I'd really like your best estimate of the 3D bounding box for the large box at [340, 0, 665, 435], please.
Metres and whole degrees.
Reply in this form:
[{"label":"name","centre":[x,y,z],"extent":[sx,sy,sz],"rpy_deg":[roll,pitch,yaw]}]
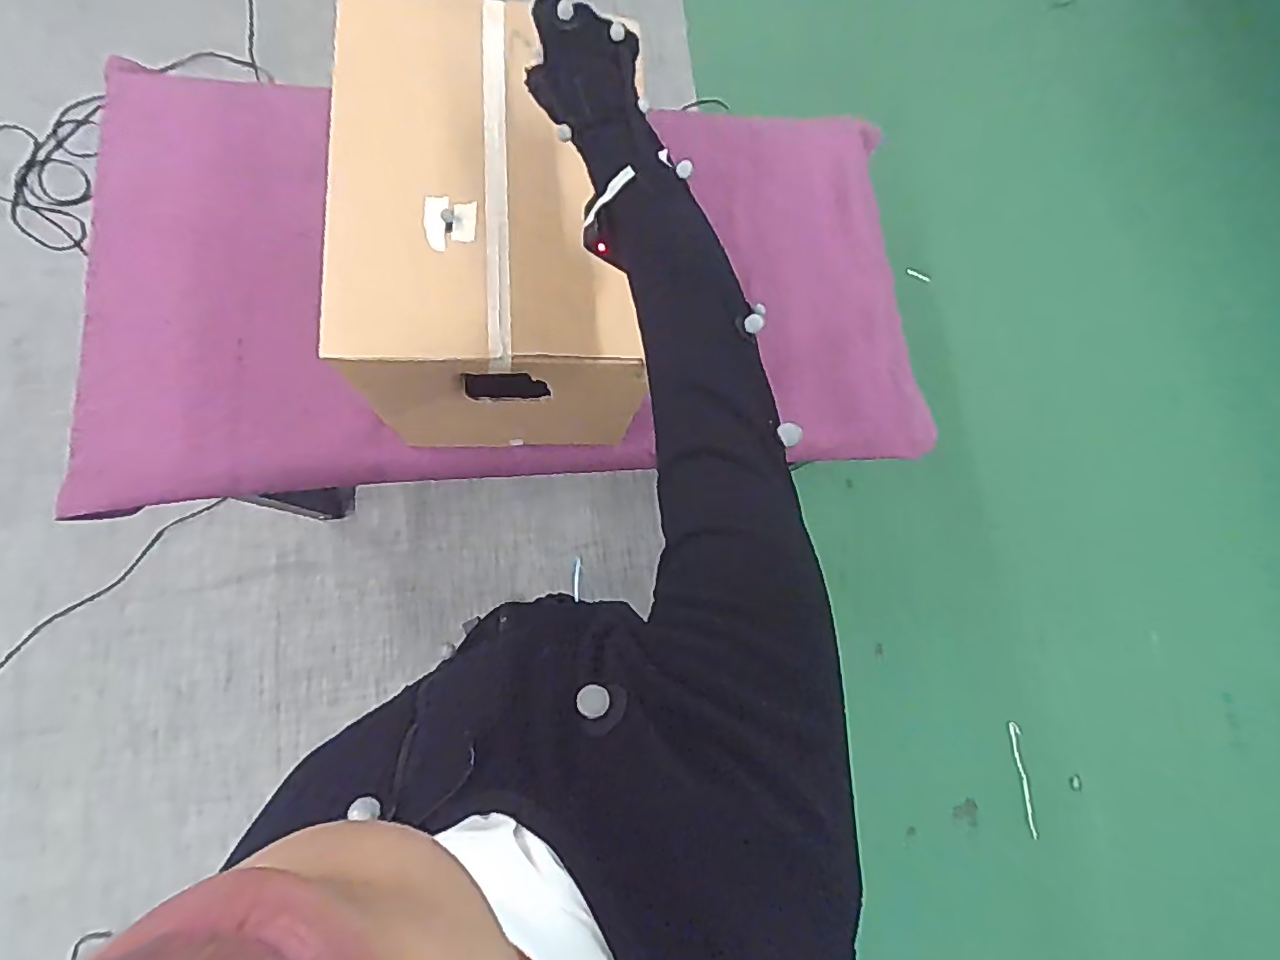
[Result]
[{"label":"large box","centre":[-0.165,-0.288,0.696],"extent":[0.320,0.320,0.408],"rpy_deg":[-1,80,-10]}]
